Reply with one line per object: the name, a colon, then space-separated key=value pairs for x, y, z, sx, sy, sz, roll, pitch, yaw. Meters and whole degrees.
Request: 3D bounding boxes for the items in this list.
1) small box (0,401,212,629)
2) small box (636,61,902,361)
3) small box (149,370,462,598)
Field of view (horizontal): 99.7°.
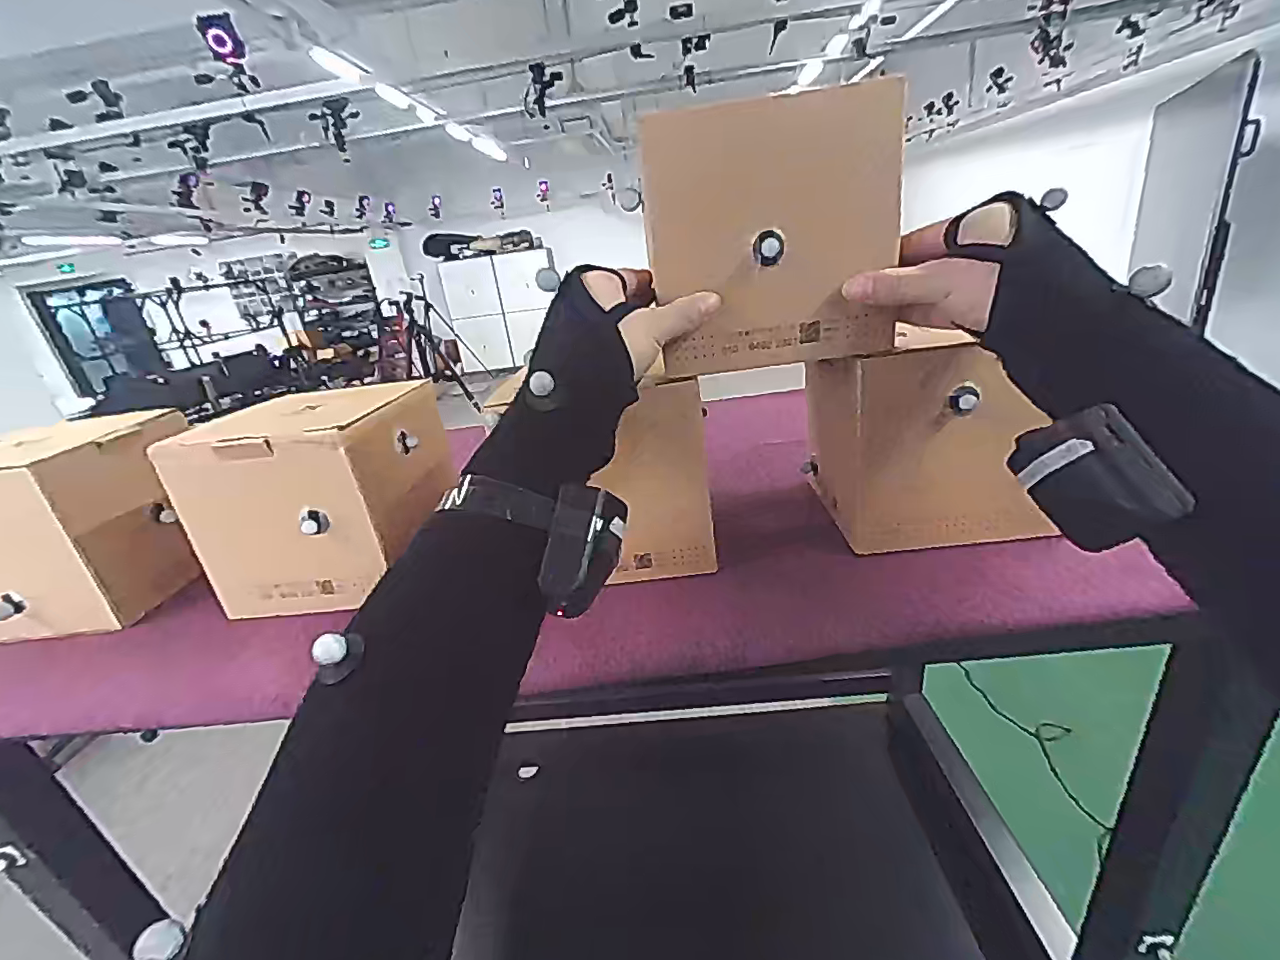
small box: x=-0.564 y=0.031 z=0.537 sx=0.179 sy=0.176 sz=0.168 roll=-6 pitch=22 yaw=2
small box: x=0.091 y=-0.195 z=0.434 sx=0.168 sy=0.176 sz=0.179 roll=-6 pitch=21 yaw=3
small box: x=-0.292 y=0.002 z=0.522 sx=0.168 sy=0.176 sz=0.179 roll=-5 pitch=22 yaw=6
